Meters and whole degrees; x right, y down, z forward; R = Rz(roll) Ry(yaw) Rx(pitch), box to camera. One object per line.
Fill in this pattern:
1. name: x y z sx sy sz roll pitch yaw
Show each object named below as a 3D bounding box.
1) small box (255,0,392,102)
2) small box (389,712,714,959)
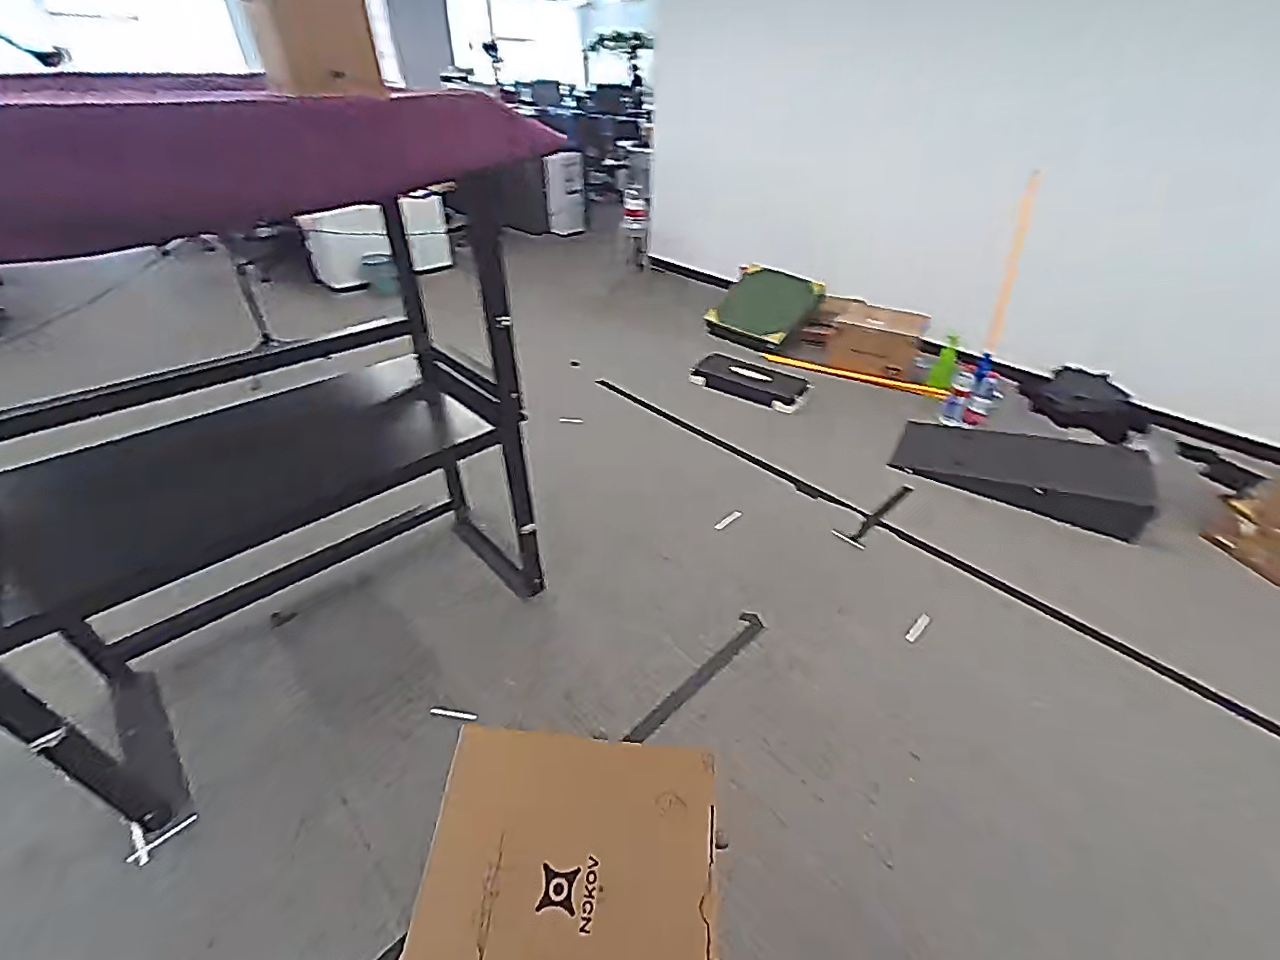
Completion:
1. small box: -0.589 -0.820 1.017 0.179 0.176 0.168 -28 45 -34
2. small box: -0.045 0.277 0.382 0.179 0.176 0.168 4 55 6
